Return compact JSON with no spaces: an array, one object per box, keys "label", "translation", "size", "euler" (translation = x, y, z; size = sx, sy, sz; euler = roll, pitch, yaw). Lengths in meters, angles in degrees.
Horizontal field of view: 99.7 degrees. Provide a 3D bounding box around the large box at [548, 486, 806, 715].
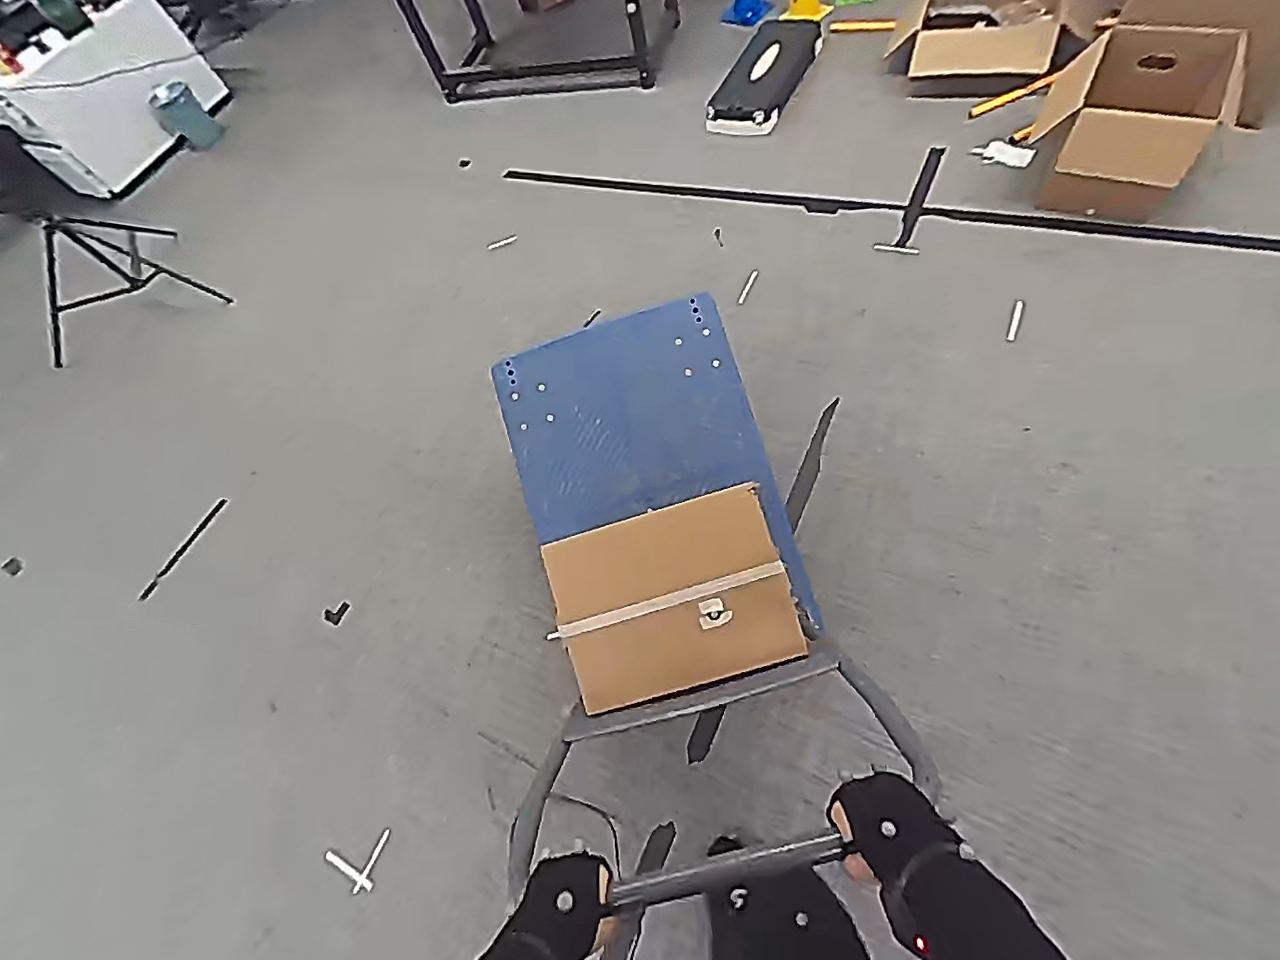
[{"label":"large box","translation":[0.072,0.233,1.123],"size":[0.408,0.320,0.320],"euler":[-18,83,3]}]
